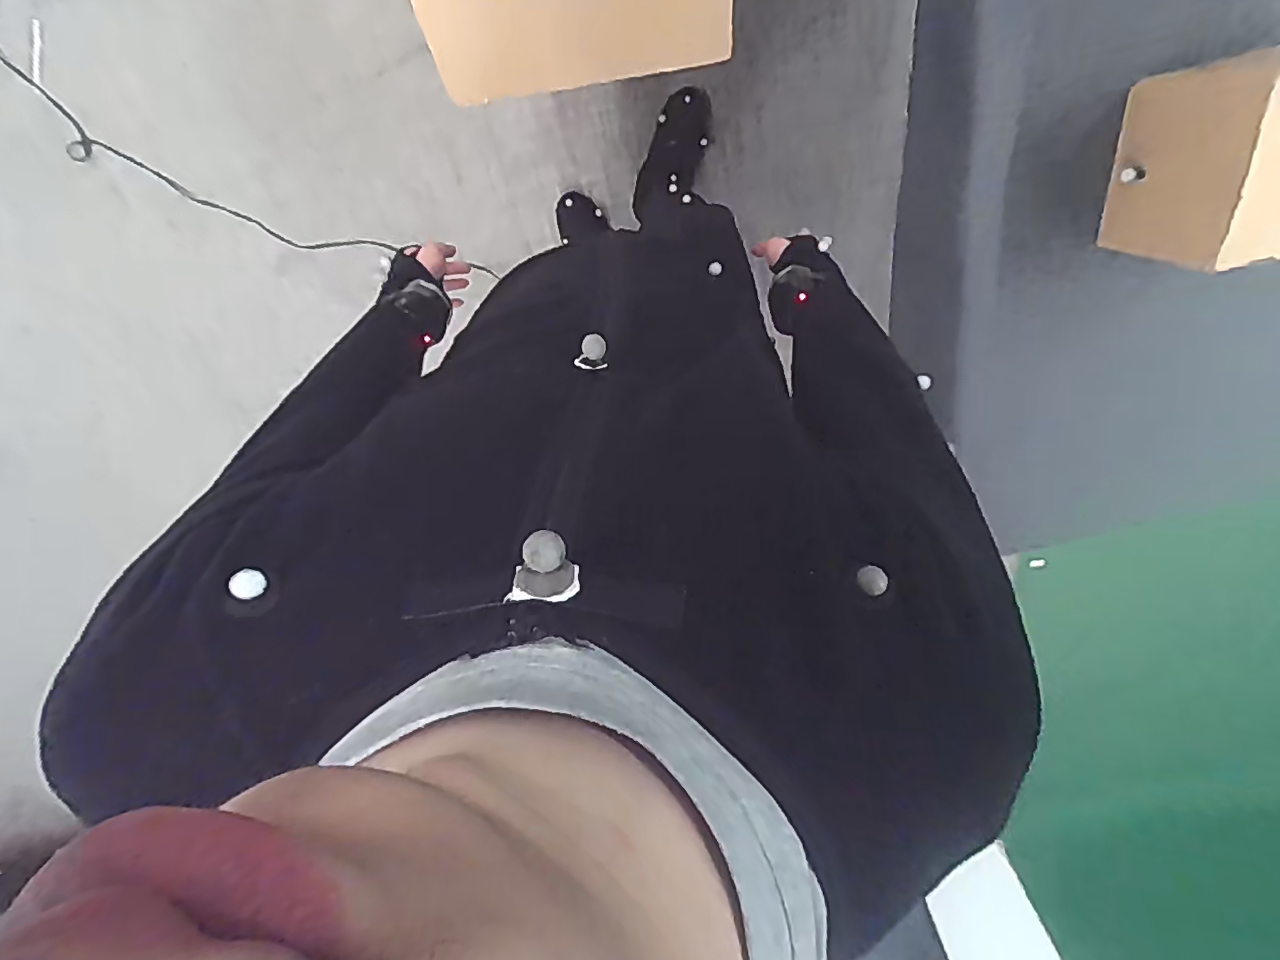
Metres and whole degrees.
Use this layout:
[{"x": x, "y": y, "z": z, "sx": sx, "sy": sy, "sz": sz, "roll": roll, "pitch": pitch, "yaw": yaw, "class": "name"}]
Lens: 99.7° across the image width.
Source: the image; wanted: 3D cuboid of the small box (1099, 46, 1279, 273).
[{"x": 0.642, "y": -0.343, "z": 0.573, "sx": 0.168, "sy": 0.176, "sz": 0.179, "roll": -11, "pitch": 123, "yaw": 6, "class": "small box"}]
